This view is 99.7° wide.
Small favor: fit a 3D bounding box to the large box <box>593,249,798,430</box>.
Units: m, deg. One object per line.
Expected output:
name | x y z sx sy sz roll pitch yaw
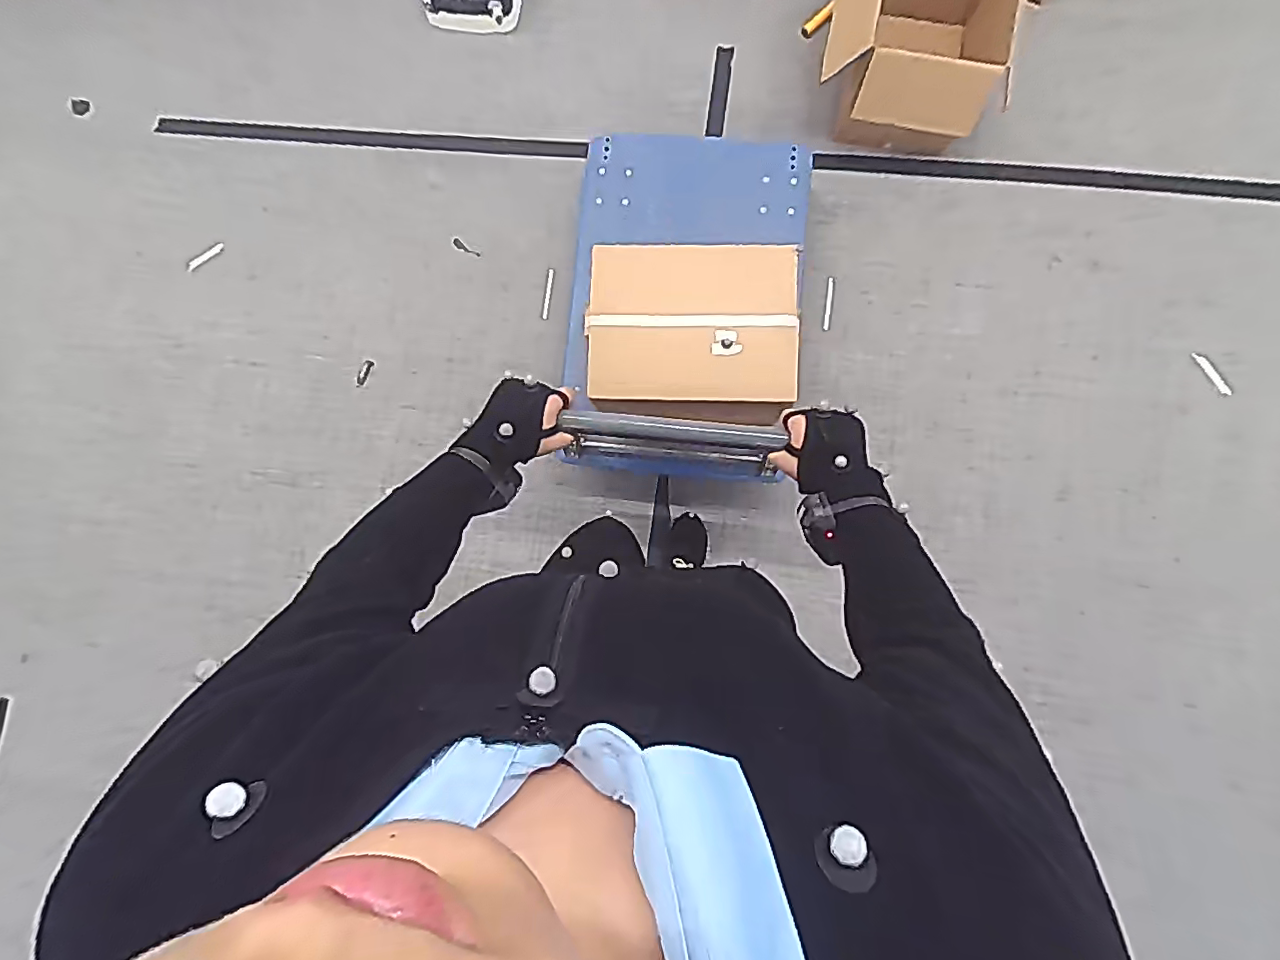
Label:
large box | 0.111 -0.290 1.206 0.408 0.320 0.320 1 85 2
